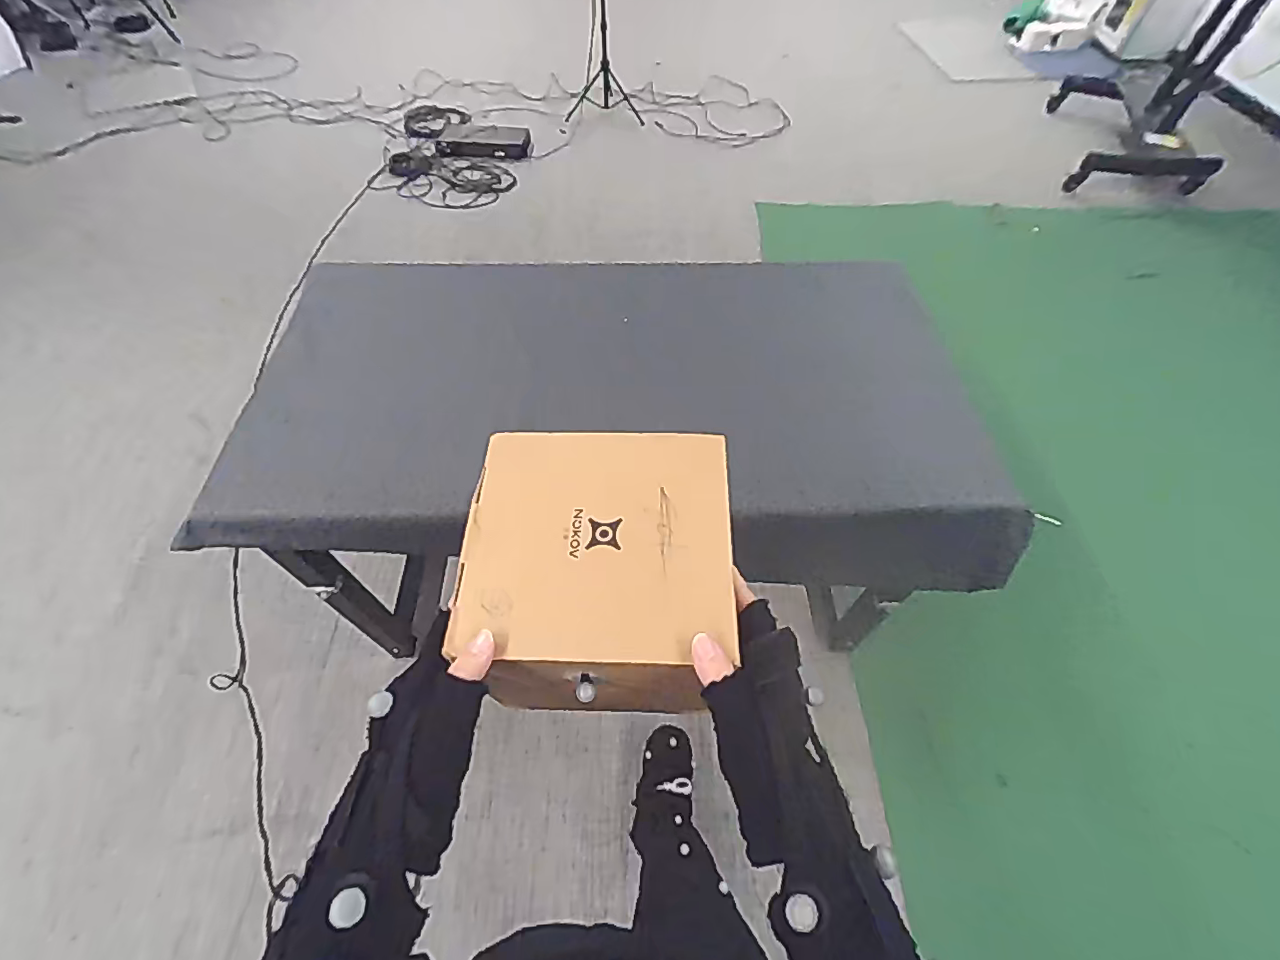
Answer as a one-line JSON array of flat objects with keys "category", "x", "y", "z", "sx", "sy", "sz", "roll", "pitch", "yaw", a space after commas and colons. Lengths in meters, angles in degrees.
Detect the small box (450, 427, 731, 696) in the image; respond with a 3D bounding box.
[{"category": "small box", "x": -0.027, "y": 0.073, "z": 0.437, "sx": 0.179, "sy": 0.176, "sz": 0.168, "roll": 1, "pitch": 58, "yaw": 1}]
